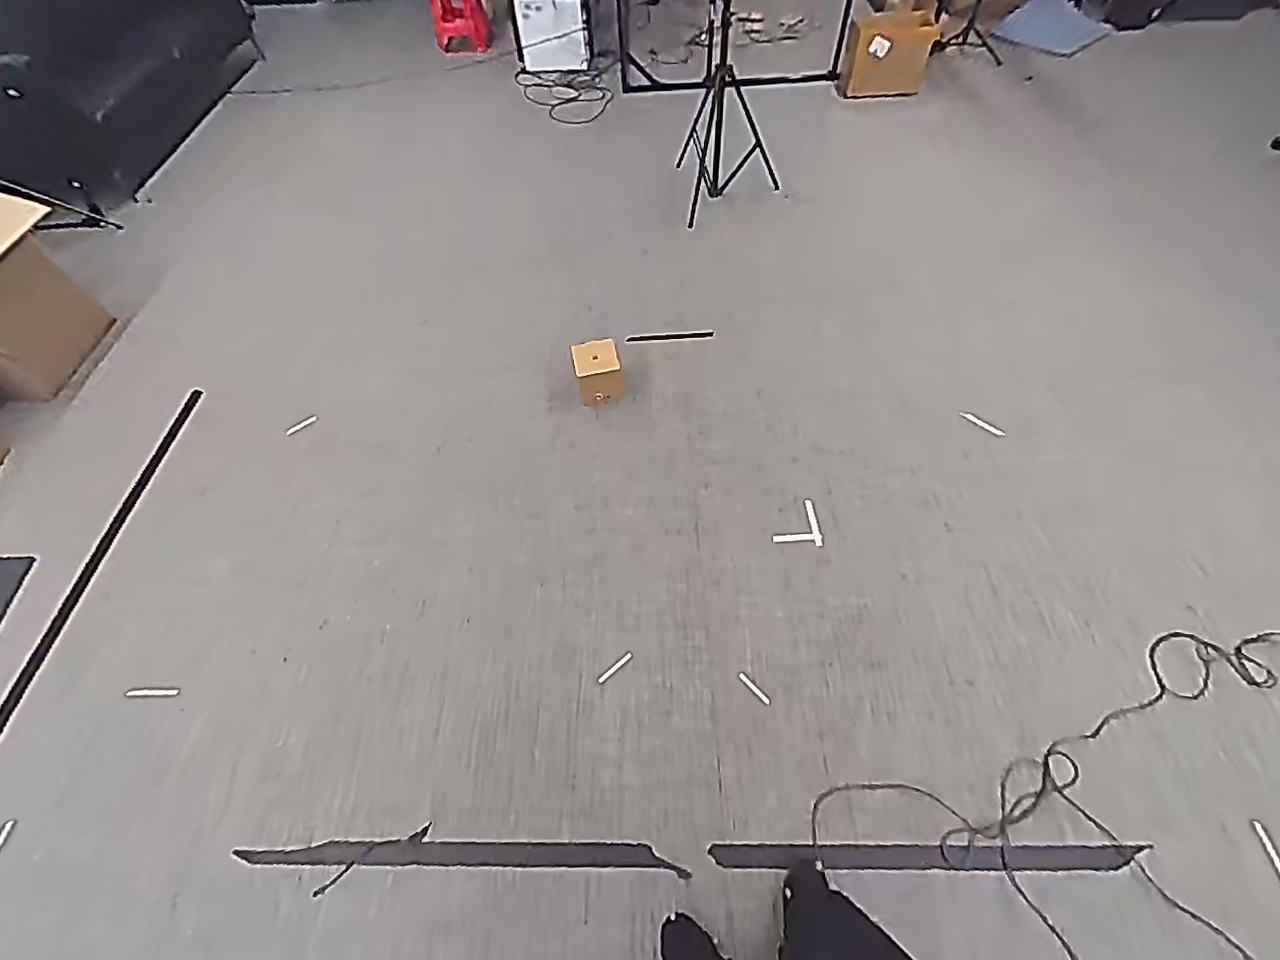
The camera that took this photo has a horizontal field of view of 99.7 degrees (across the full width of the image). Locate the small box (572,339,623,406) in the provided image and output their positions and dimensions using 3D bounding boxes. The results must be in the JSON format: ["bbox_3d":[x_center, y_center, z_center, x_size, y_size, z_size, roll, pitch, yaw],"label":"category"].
[{"bbox_3d":[-0.167,-0.417,2.110,0.168,0.176,0.179,-12,56,-3],"label":"small box"}]
